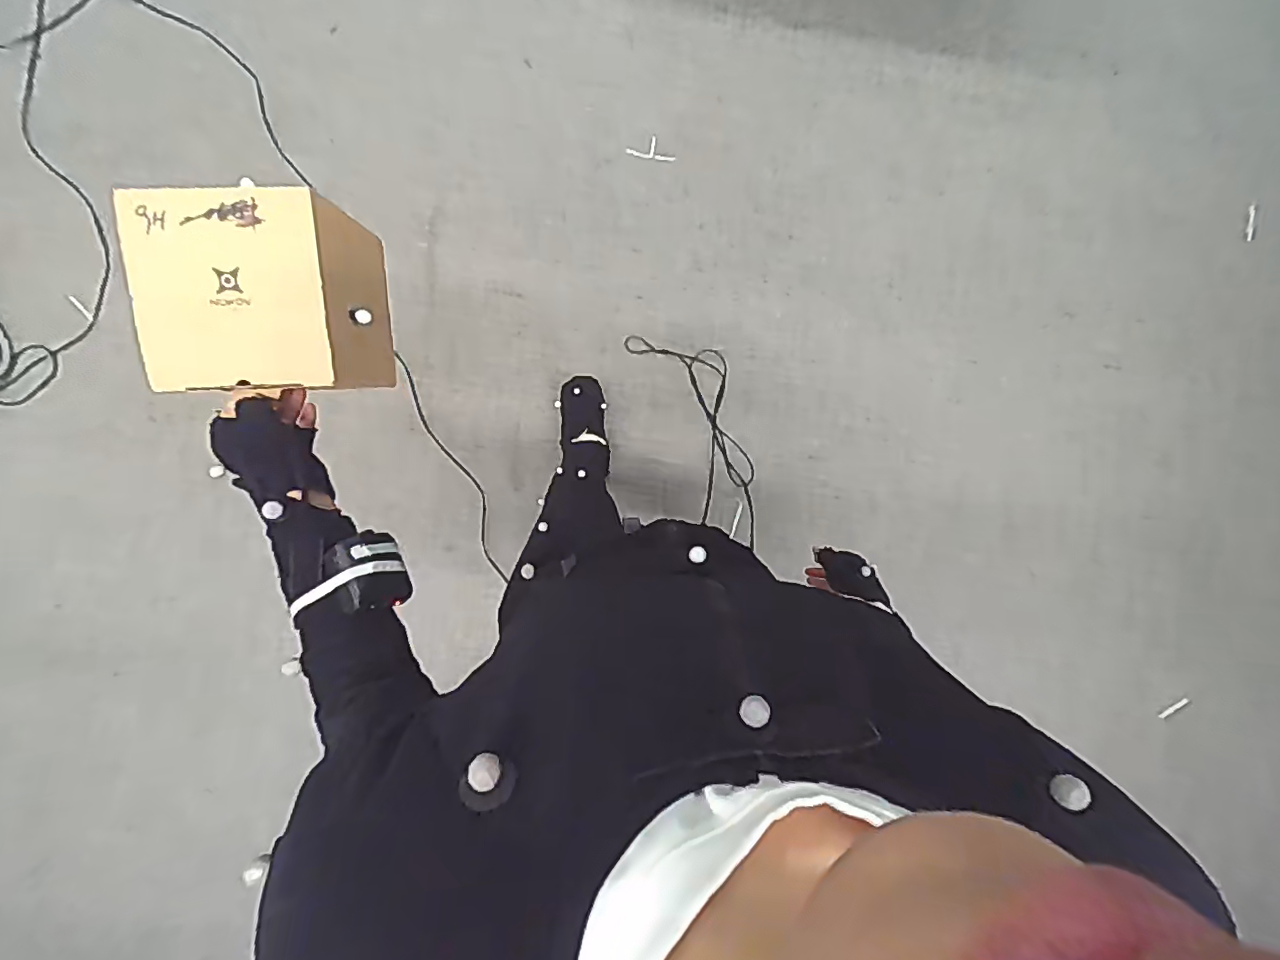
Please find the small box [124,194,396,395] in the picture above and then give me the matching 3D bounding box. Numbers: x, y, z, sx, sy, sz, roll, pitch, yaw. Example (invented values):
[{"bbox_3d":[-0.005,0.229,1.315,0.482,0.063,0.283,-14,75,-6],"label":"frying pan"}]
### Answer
[{"bbox_3d":[-0.375,-0.185,0.574,0.168,0.176,0.179,-3,101,-5],"label":"small box"}]
